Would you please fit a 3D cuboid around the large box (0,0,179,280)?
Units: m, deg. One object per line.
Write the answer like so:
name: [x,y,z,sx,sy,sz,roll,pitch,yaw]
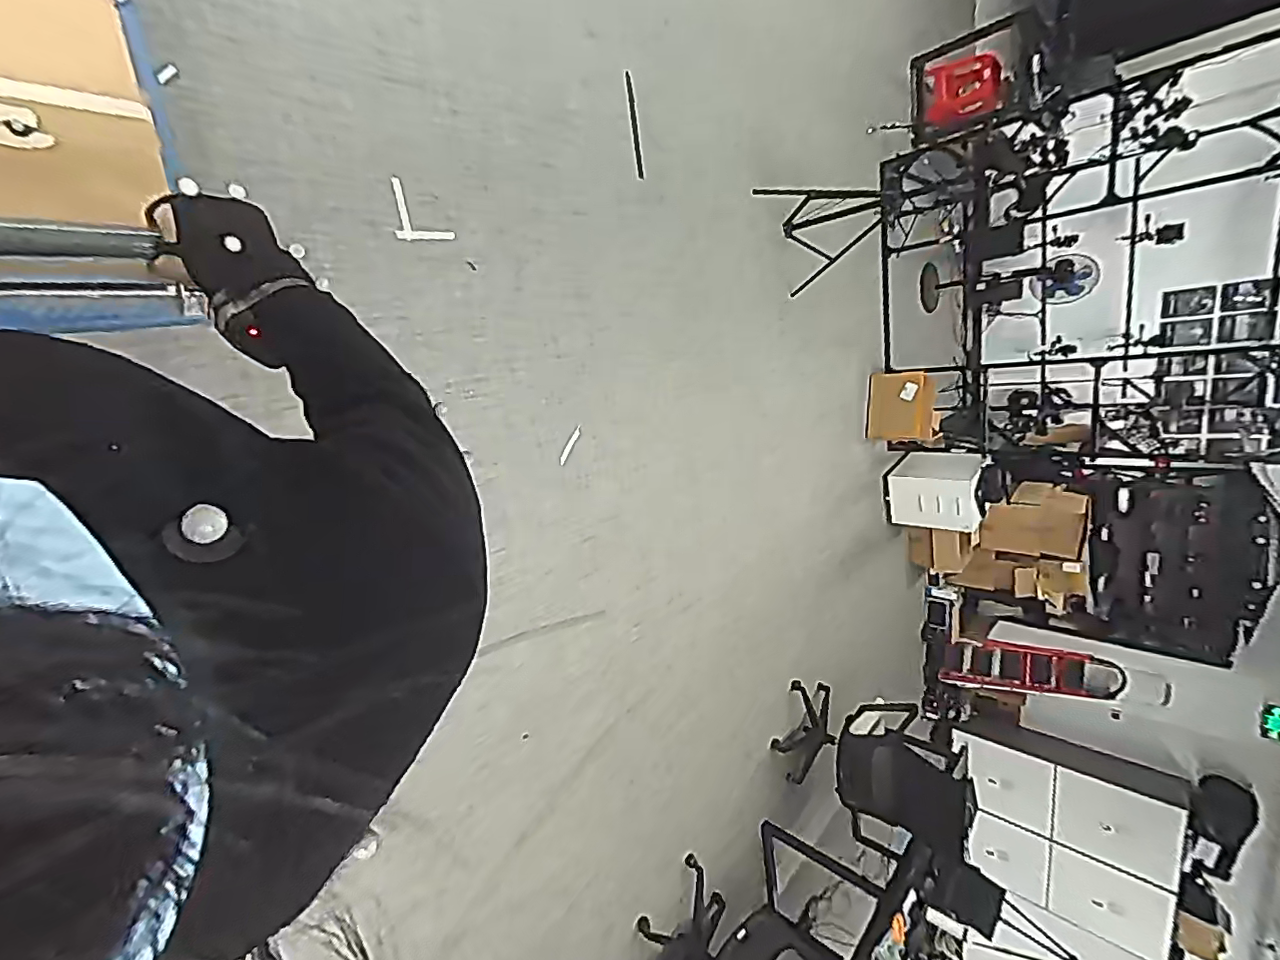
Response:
large box: [-0.936,-0.458,0.723,0.408,0.320,0.320,-19,108,-45]
